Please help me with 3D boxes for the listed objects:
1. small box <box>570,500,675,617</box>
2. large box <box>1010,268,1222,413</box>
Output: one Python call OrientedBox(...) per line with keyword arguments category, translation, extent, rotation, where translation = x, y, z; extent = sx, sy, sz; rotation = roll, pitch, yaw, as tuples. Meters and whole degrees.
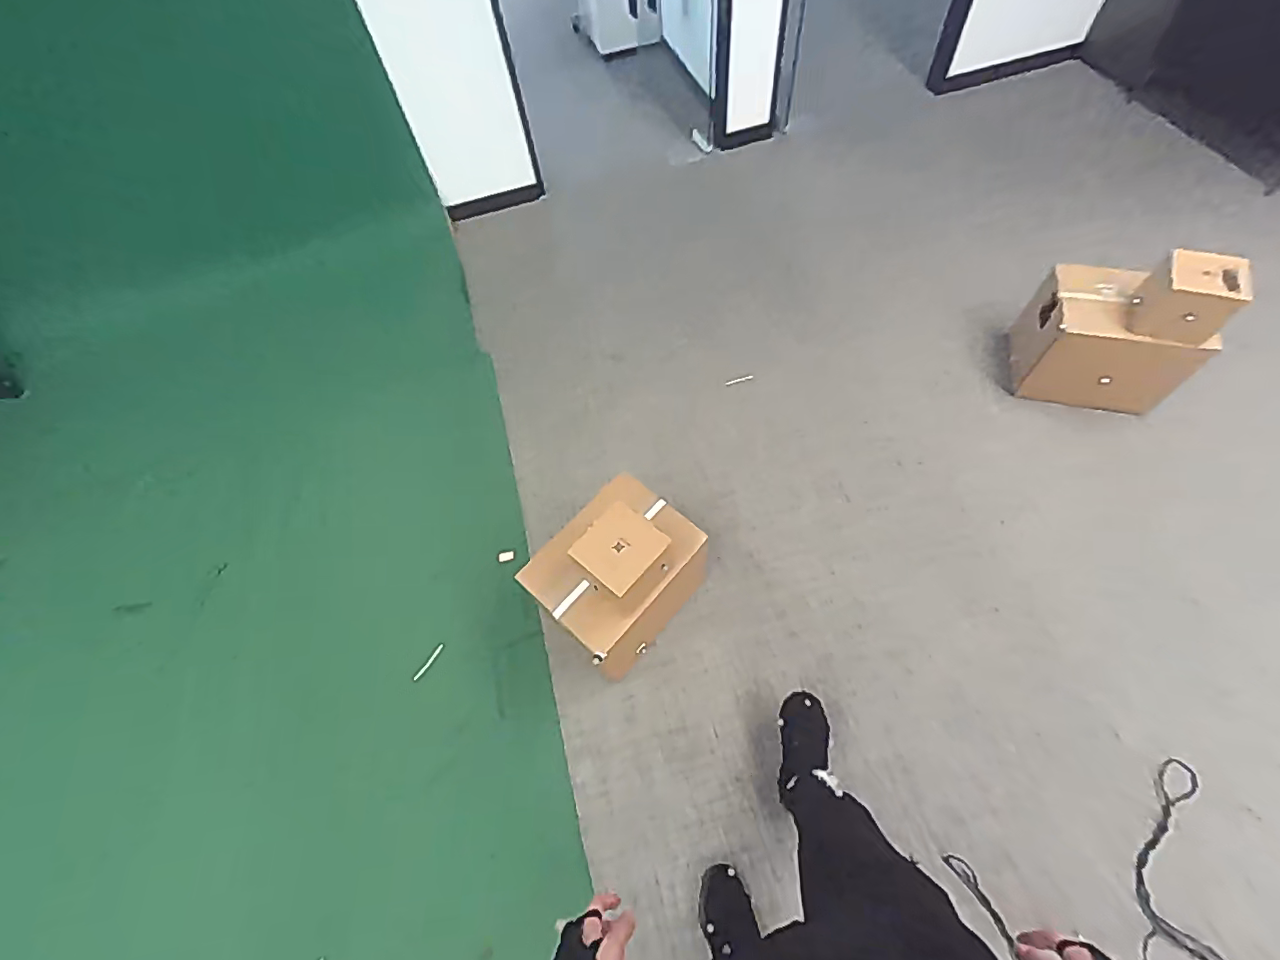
OrientedBox(category="small box", translation=(-0.034, 0.185, 1.254), extent=(0.168, 0.176, 0.179), rotation=(37, 70, 23))
OrientedBox(category="large box", translation=(1.498, -0.447, 1.751), extent=(0.408, 0.320, 0.320), rotation=(11, 61, 13))
